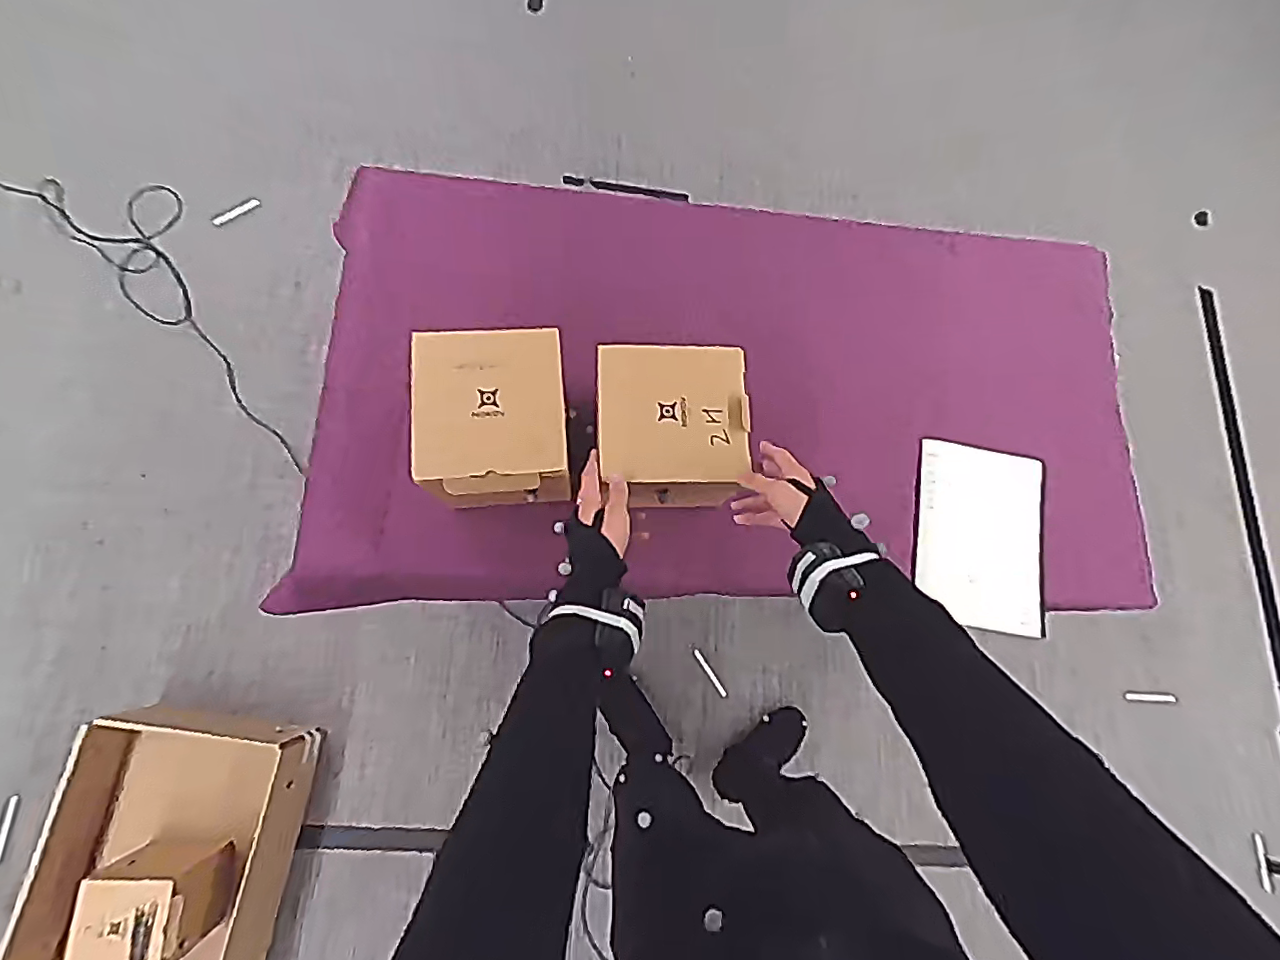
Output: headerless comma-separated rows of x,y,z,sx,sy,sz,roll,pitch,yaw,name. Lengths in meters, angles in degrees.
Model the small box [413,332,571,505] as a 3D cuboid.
-0.175,-0.066,0.679,0.168,0.176,0.179,-4,78,-7,small box
